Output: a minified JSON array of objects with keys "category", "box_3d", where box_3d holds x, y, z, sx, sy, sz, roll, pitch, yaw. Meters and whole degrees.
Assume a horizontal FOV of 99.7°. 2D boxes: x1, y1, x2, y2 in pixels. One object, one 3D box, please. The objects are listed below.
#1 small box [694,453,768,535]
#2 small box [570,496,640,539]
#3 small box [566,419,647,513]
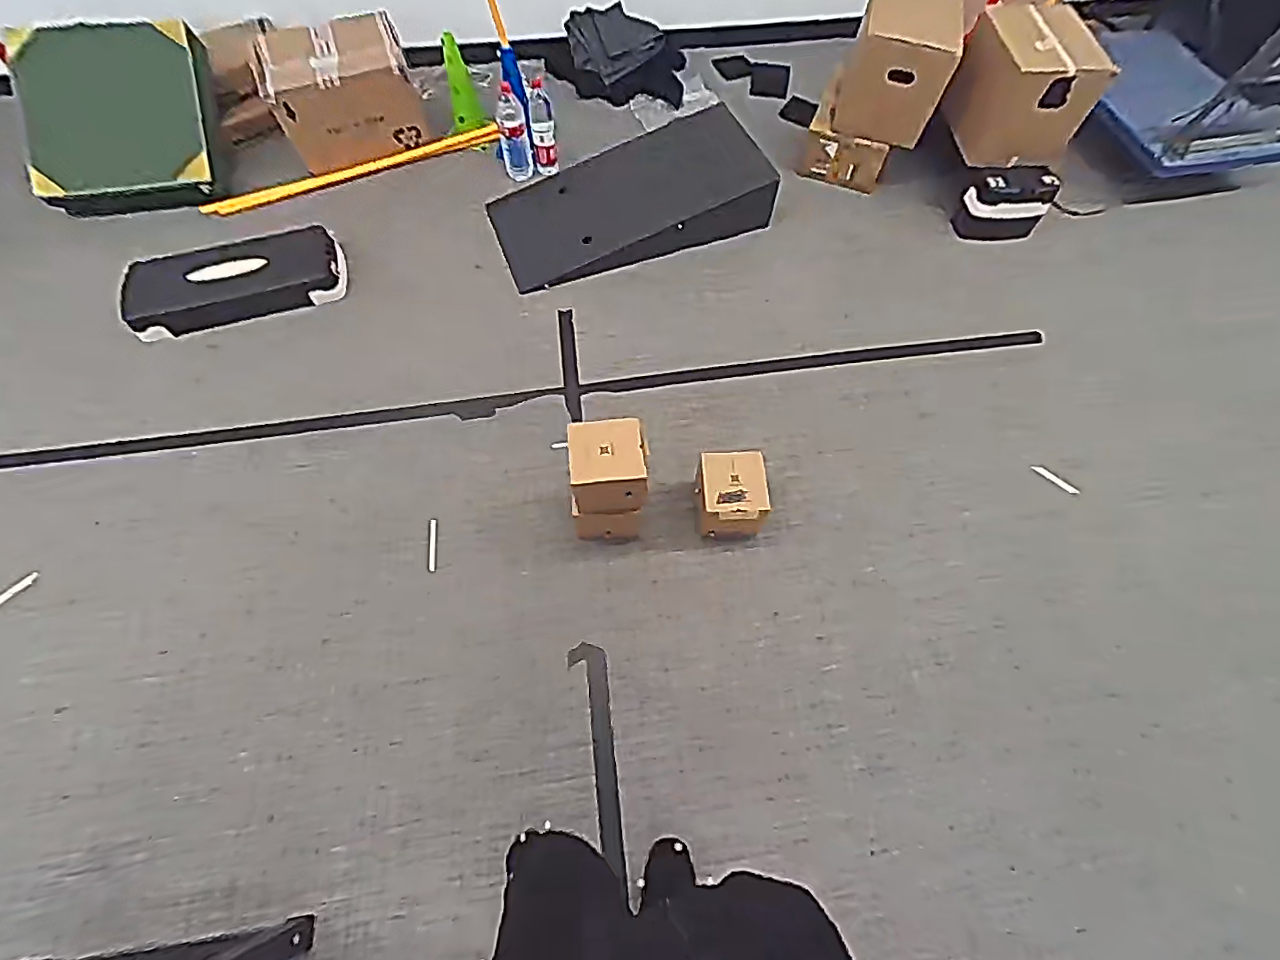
[{"category":"small box","box_3d":[0.240,0.044,1.468,0.168,0.176,0.179,-1,63,-2]},{"category":"small box","box_3d":[-0.093,0.055,1.454,0.179,0.176,0.168,-1,63,-3]},{"category":"small box","box_3d":[-0.081,-0.030,1.314,0.179,0.176,0.168,-6,63,-3]}]
